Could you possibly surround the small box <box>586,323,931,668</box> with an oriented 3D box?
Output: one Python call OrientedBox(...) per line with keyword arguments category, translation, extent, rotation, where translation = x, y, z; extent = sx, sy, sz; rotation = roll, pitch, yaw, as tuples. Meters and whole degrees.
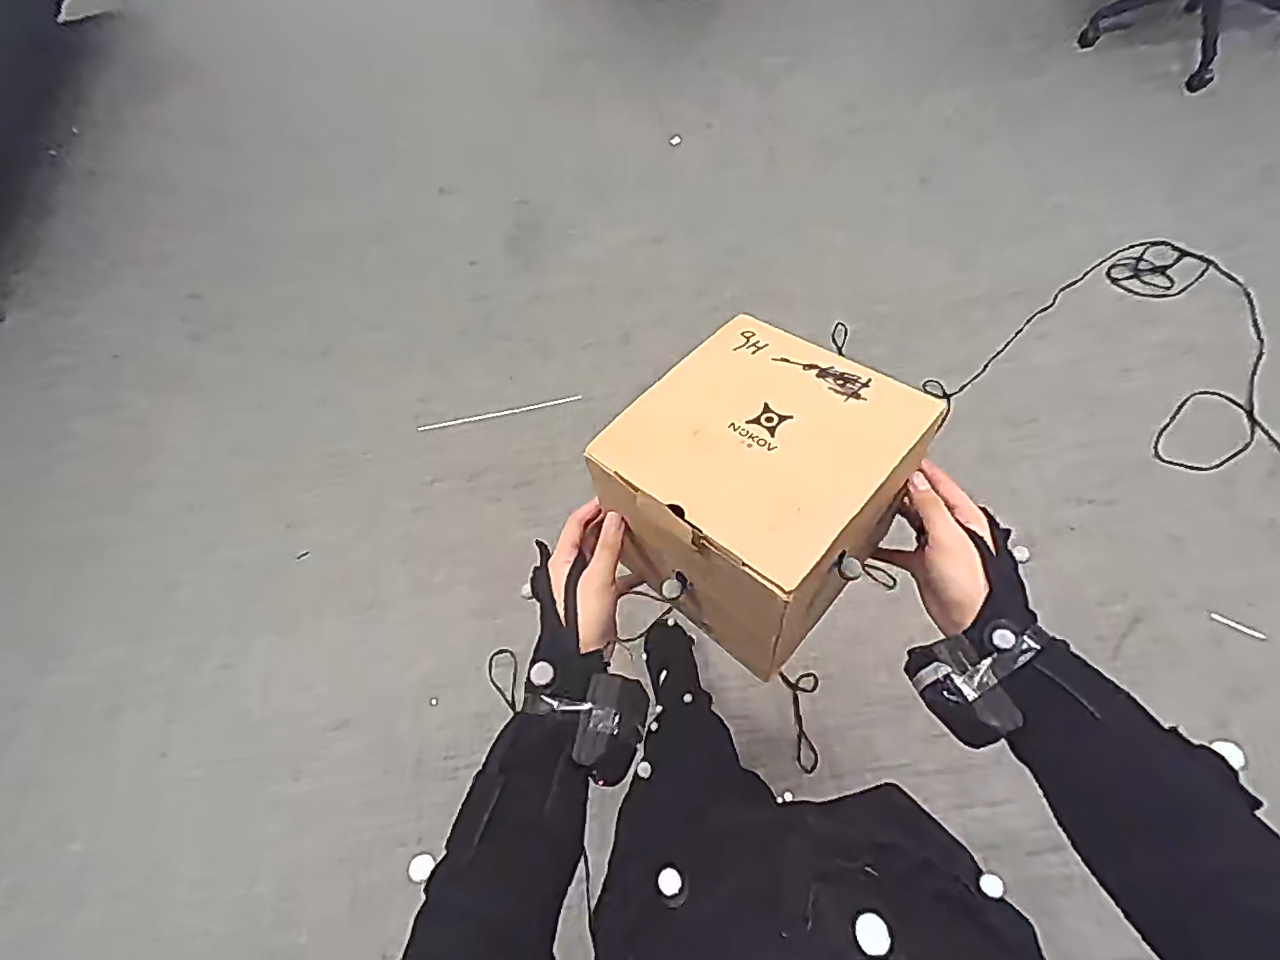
OrientedBox(category="small box", translation=(0.089, 0.016, 0.428), extent=(0.168, 0.176, 0.179), rotation=(36, 67, 29))
